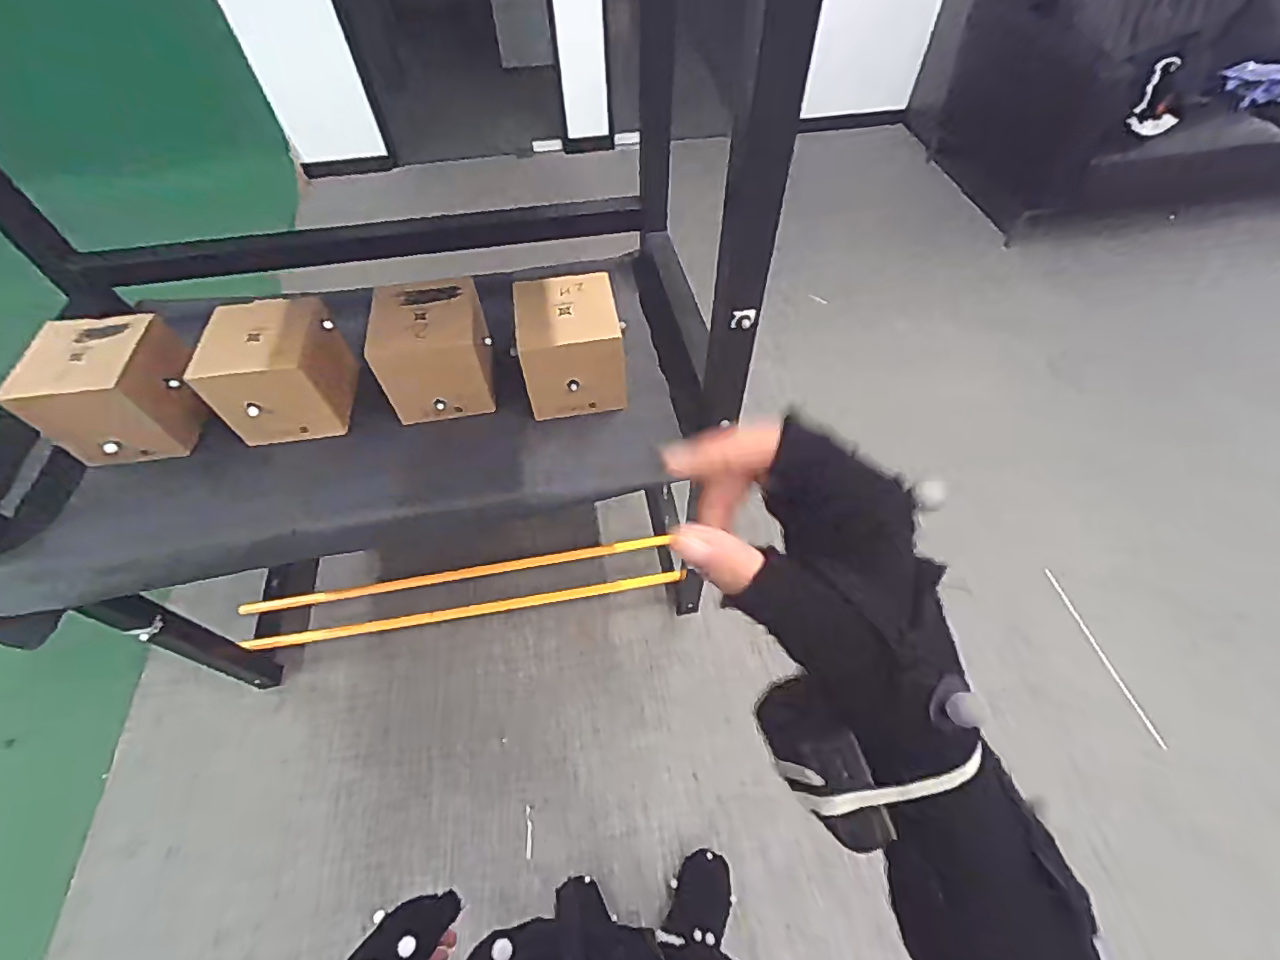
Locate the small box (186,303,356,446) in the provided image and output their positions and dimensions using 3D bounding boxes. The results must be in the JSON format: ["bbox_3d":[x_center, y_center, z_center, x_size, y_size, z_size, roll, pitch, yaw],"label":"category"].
[{"bbox_3d":[-0.612,-0.173,0.927,0.168,0.176,0.179,-8,55,-5],"label":"small box"}]

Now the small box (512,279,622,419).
[{"bbox_3d":[-0.126,-0.223,0.954,0.168,0.176,0.179,-8,55,-5],"label":"small box"}]

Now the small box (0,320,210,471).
[{"bbox_3d":[-0.862,-0.138,0.901,0.168,0.176,0.179,-8,56,-5],"label":"small box"}]
